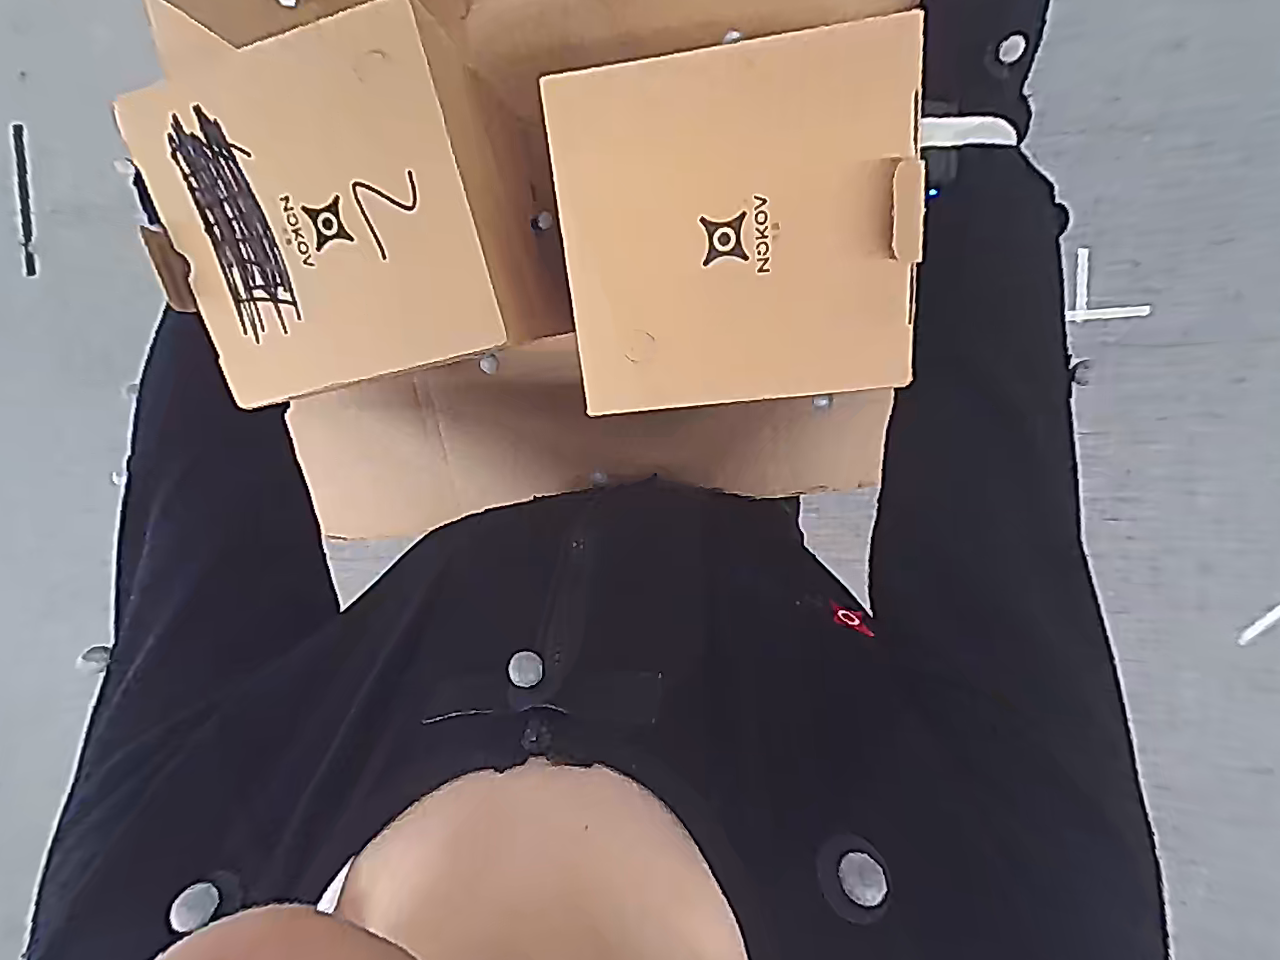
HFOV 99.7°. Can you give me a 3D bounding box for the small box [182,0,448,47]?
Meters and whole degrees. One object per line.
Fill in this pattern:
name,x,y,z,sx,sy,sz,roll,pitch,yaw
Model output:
small box,-0.233,-0.397,0.314,0.168,0.176,0.179,-8,101,9
